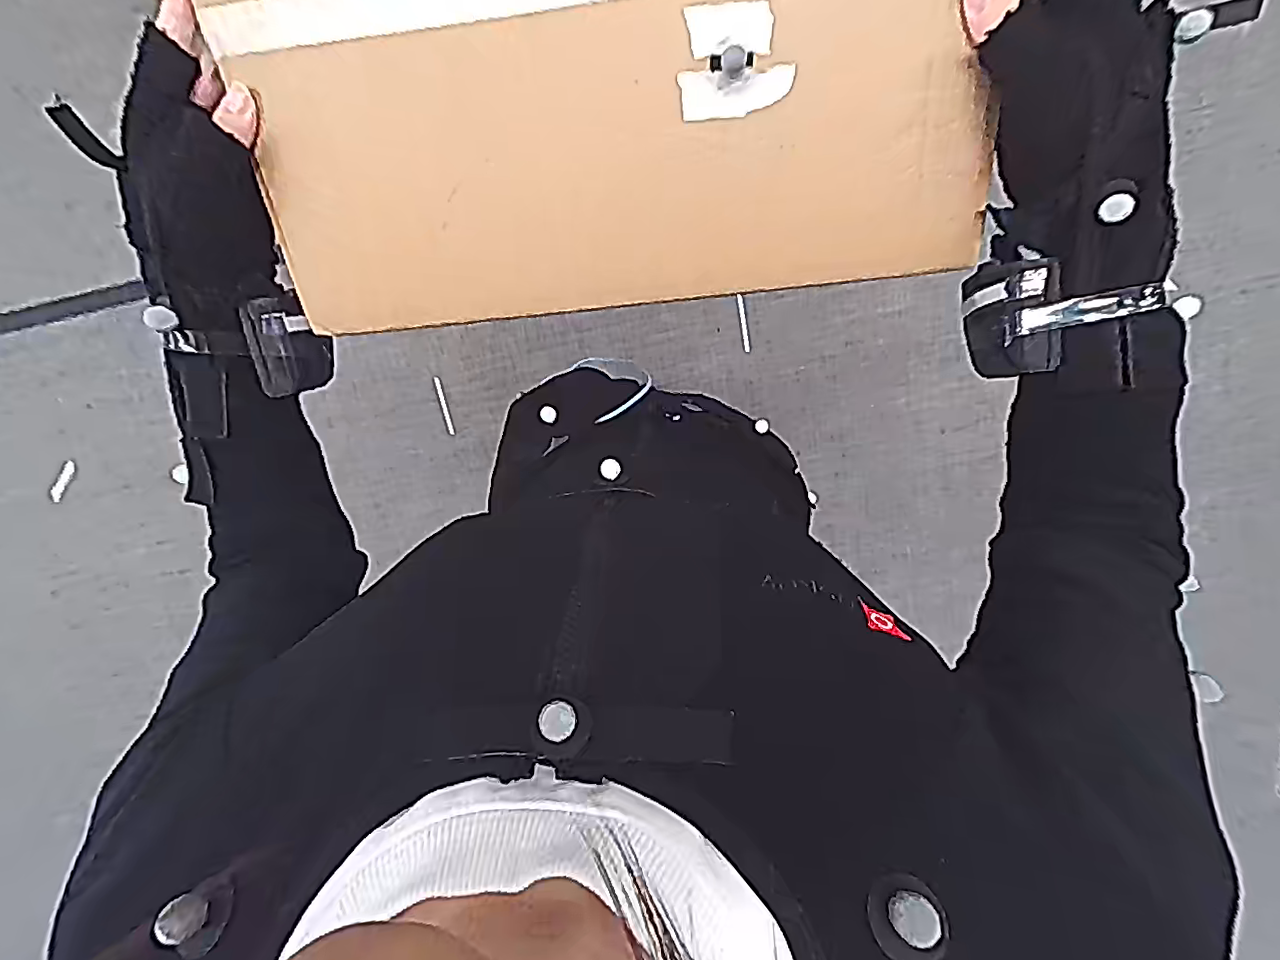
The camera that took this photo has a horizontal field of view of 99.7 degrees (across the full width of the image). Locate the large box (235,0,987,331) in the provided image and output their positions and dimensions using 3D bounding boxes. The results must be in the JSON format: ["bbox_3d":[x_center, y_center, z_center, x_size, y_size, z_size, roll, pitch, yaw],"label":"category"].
[{"bbox_3d":[-0.017,-0.316,0.420,0.408,0.320,0.320,-5,114,4],"label":"large box"}]
